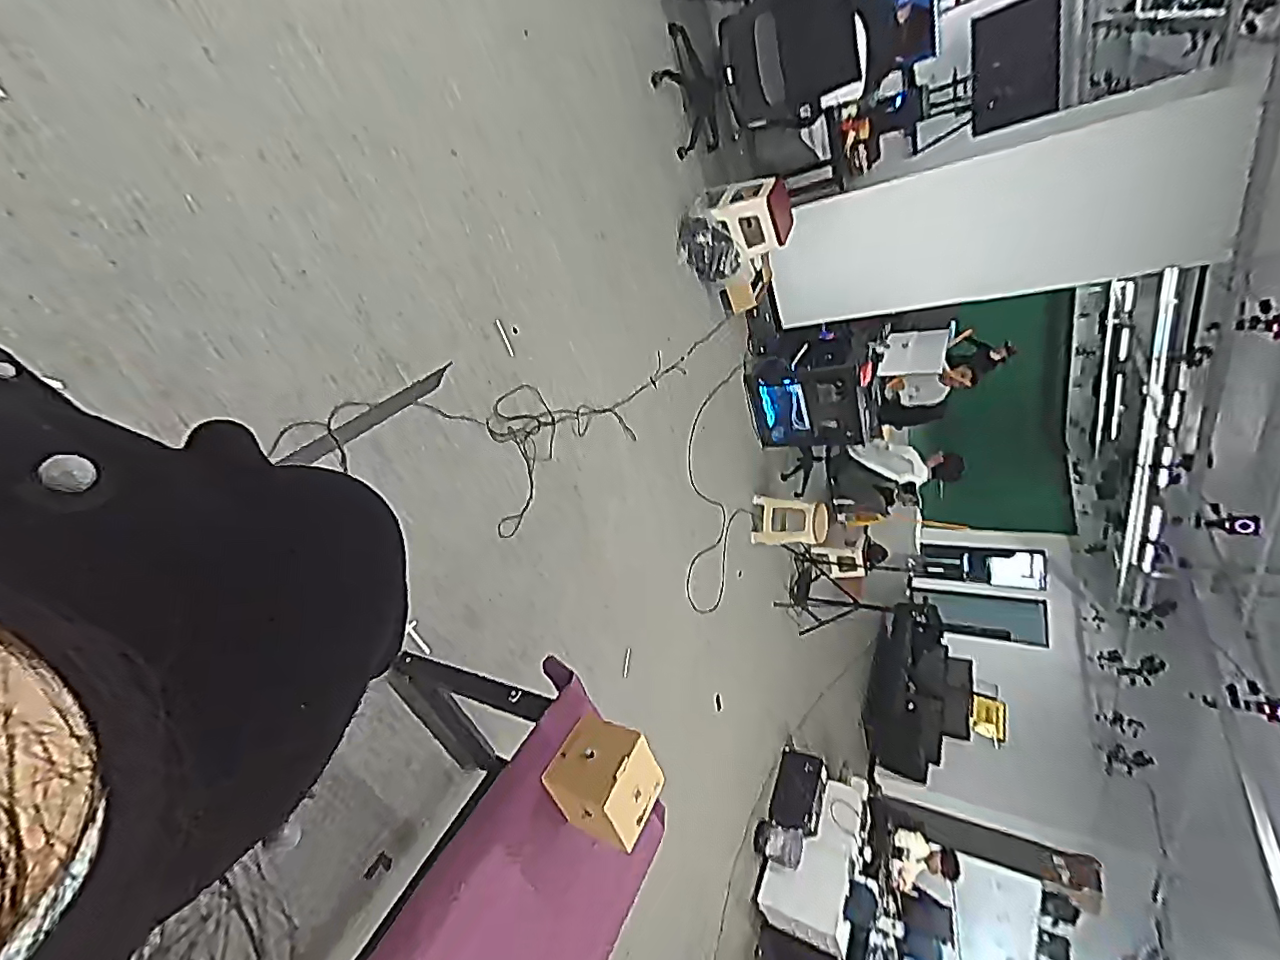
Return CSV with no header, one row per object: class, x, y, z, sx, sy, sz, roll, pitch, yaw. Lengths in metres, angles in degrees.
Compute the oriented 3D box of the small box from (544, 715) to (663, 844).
small box,-0.080,0.639,1.176,0.168,0.176,0.179,-49,128,-43
